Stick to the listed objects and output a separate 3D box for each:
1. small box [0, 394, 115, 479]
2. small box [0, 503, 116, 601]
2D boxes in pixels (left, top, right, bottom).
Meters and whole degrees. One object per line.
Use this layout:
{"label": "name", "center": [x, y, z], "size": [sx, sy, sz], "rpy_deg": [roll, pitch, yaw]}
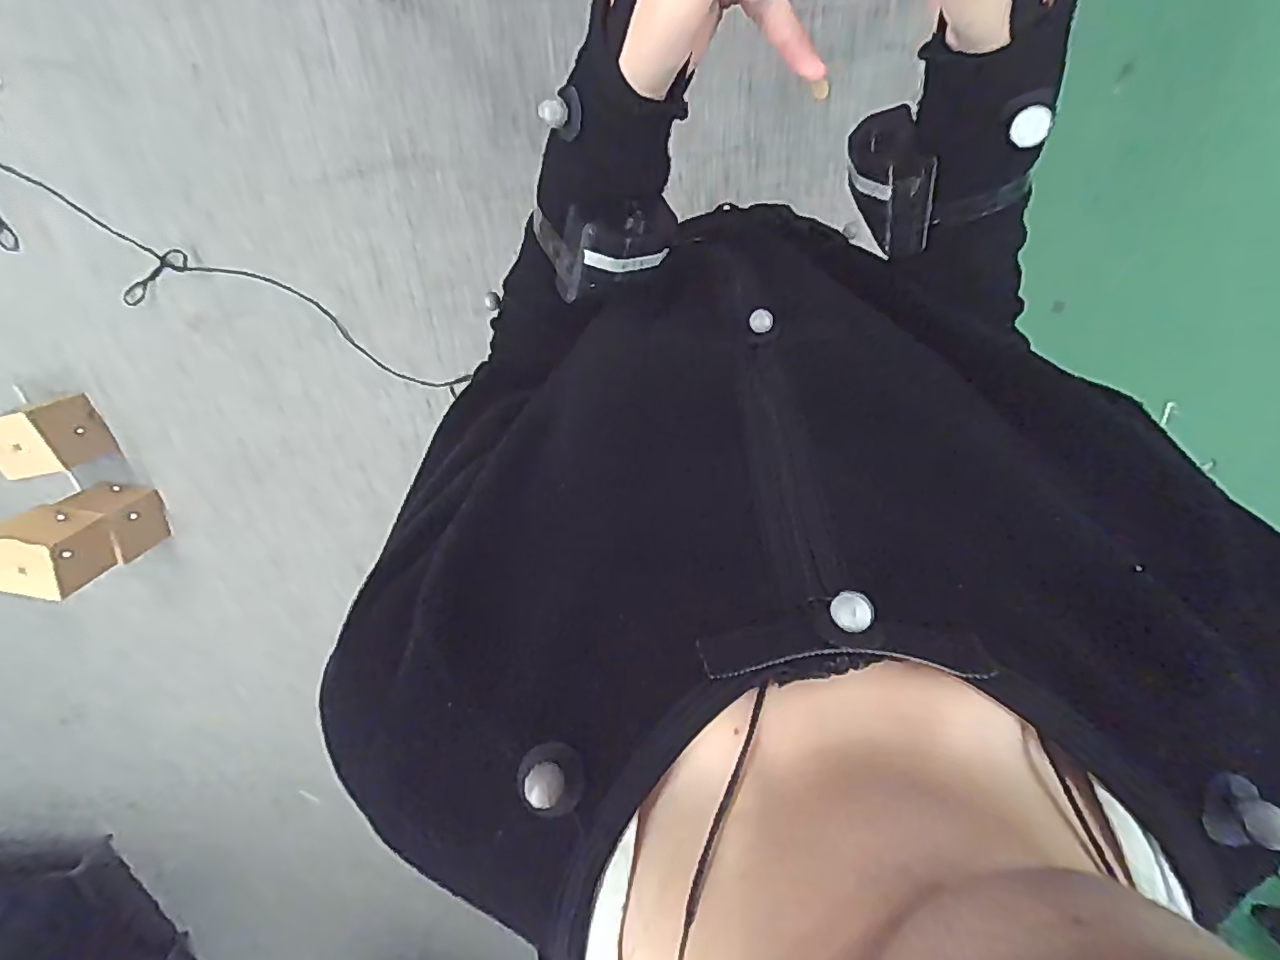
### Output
{"label": "small box", "center": [-1.596, -0.122, 1.465], "size": [0.179, 0.176, 0.168], "rpy_deg": [-9, 115, 5]}
{"label": "small box", "center": [-1.554, 0.187, 1.436], "size": [0.168, 0.176, 0.179], "rpy_deg": [13, 114, -5]}
